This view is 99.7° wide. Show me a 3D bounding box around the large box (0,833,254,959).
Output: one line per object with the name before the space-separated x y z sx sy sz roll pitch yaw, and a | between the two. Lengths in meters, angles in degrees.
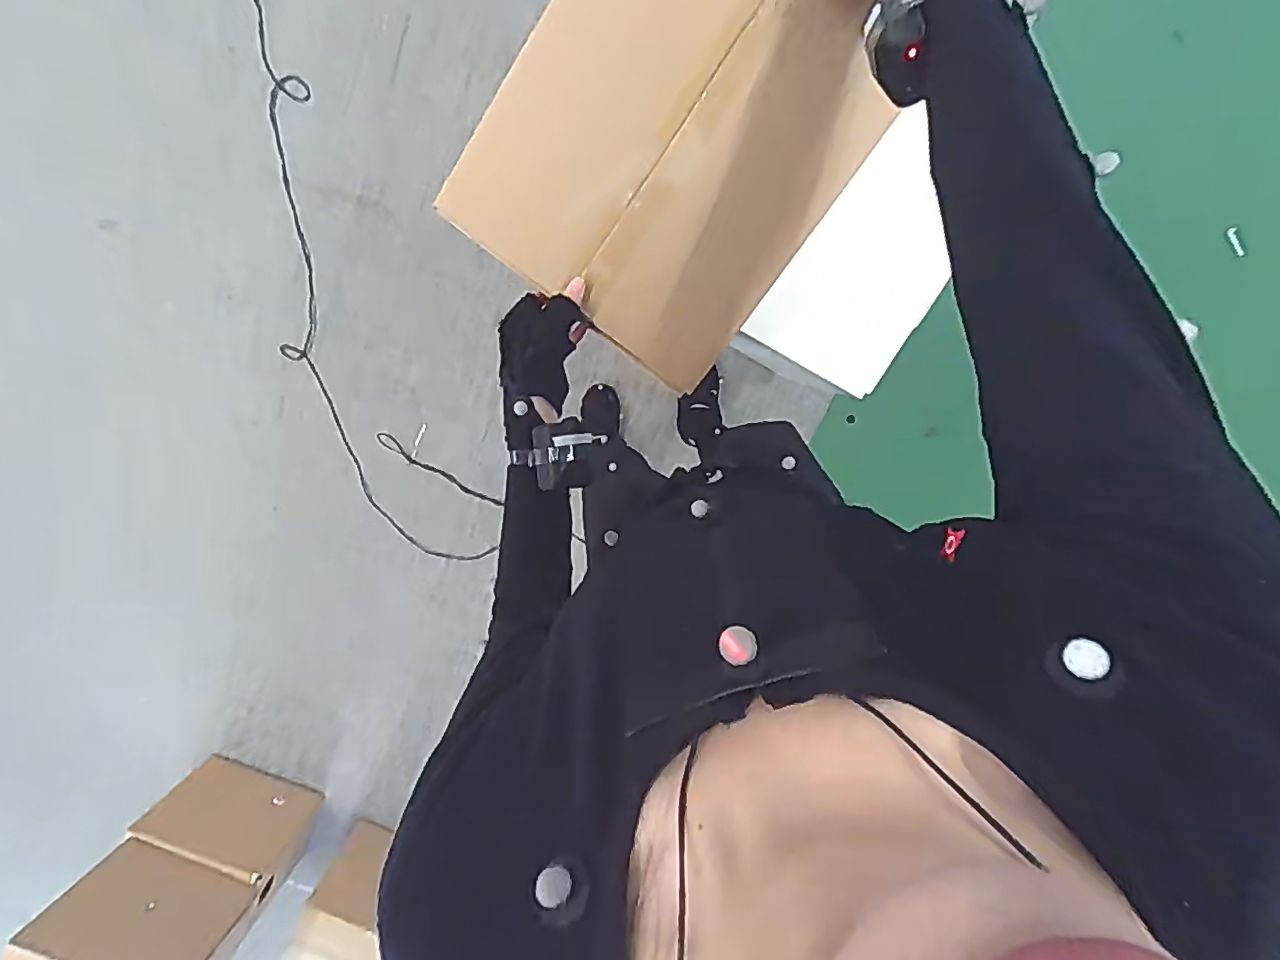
large box | -1.355 1.238 1.427 0.408 0.320 0.320 25 99 -4
